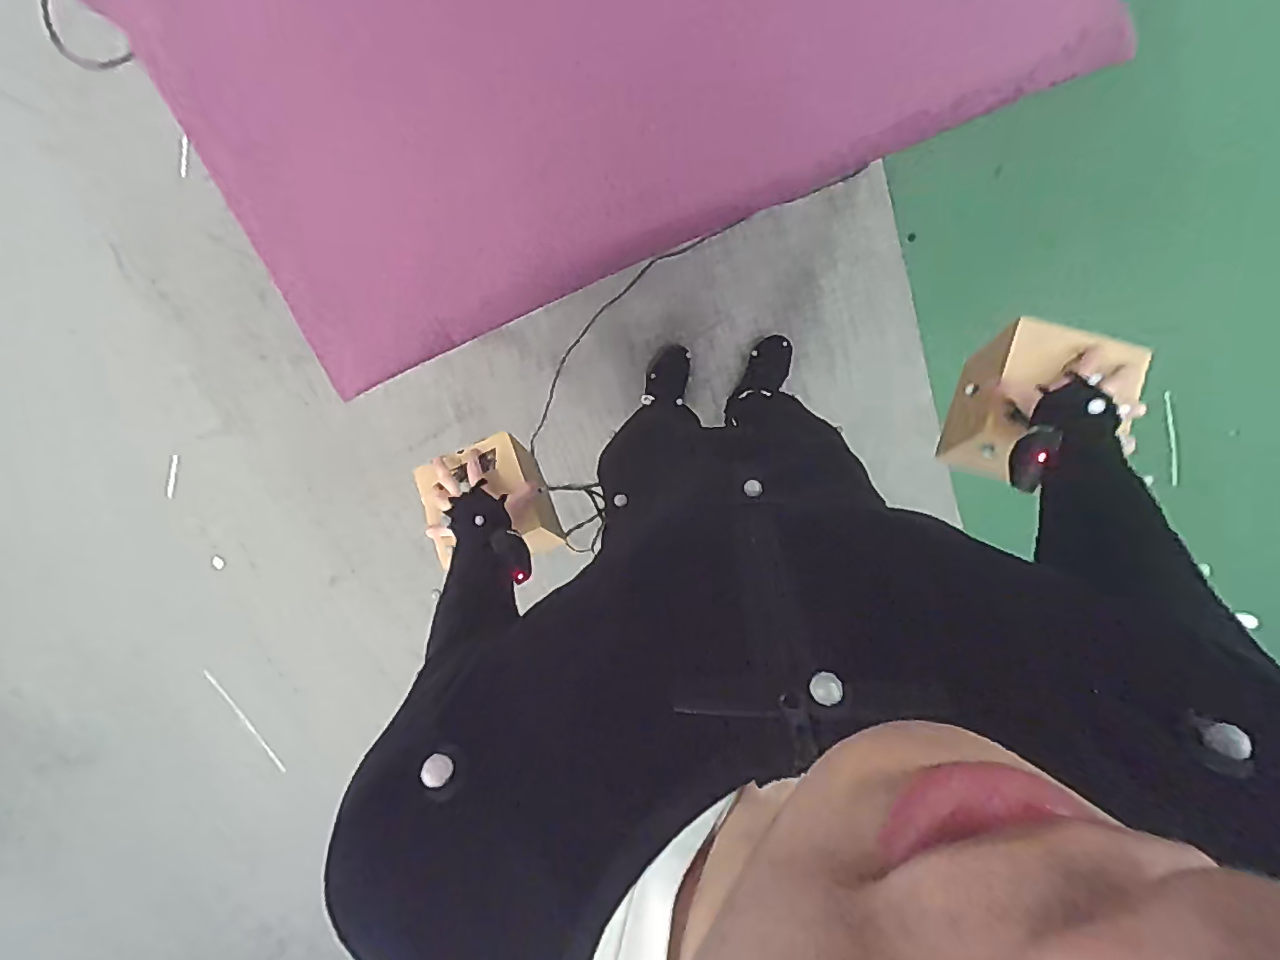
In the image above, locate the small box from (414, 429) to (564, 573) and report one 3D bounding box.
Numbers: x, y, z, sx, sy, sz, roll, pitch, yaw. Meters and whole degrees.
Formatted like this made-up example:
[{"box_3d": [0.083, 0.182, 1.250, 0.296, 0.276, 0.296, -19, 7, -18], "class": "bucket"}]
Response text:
[{"box_3d": [-0.246, 0.044, 0.912, 0.168, 0.176, 0.179, -23, 75, 0], "class": "small box"}]
